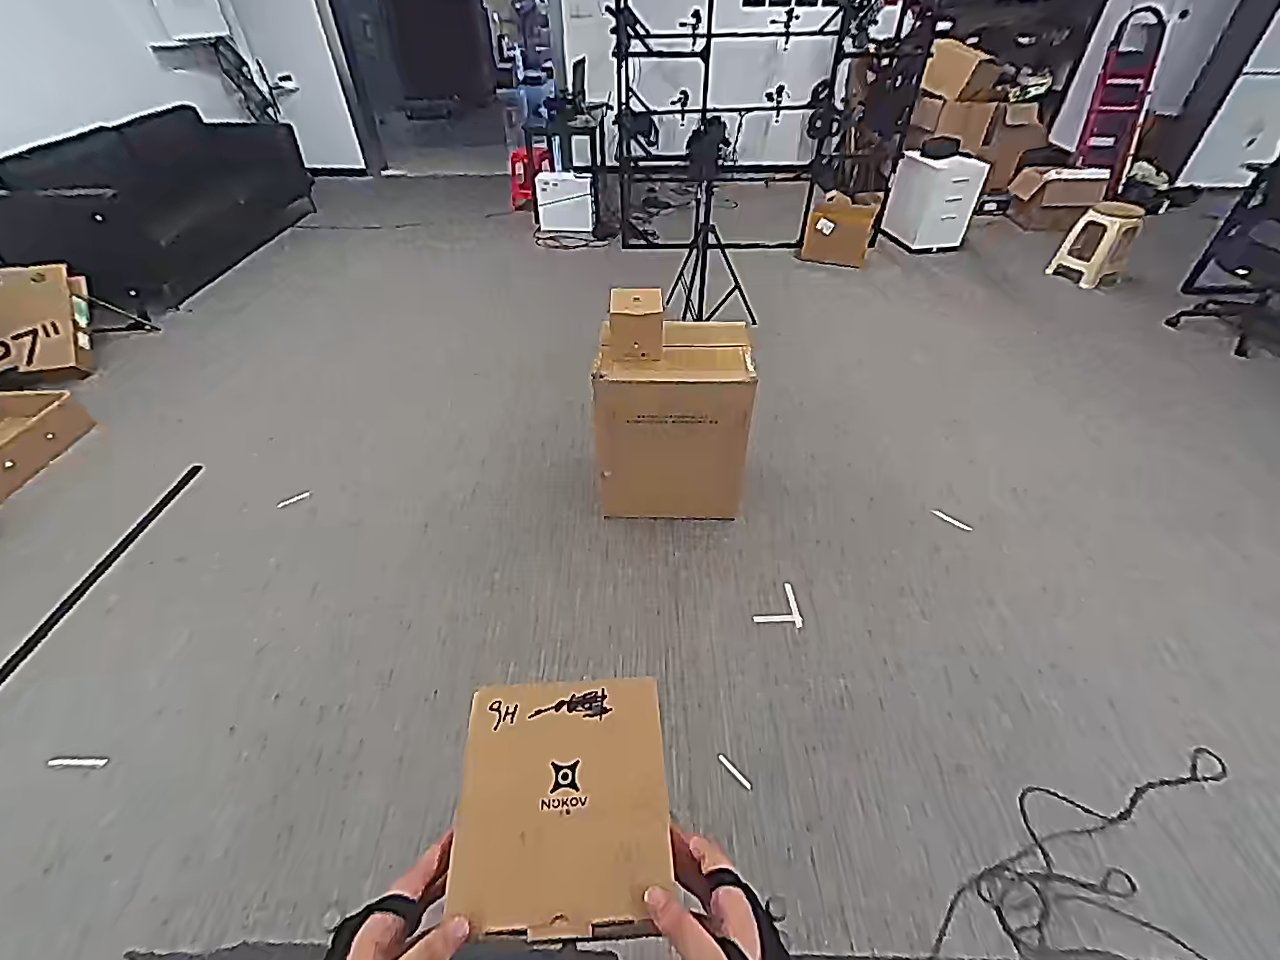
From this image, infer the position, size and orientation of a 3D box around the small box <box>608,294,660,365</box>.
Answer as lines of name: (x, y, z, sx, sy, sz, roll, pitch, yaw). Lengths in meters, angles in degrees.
small box: (-0.020, -0.496, 1.782, 0.168, 0.176, 0.179, 0, 43, 0)
